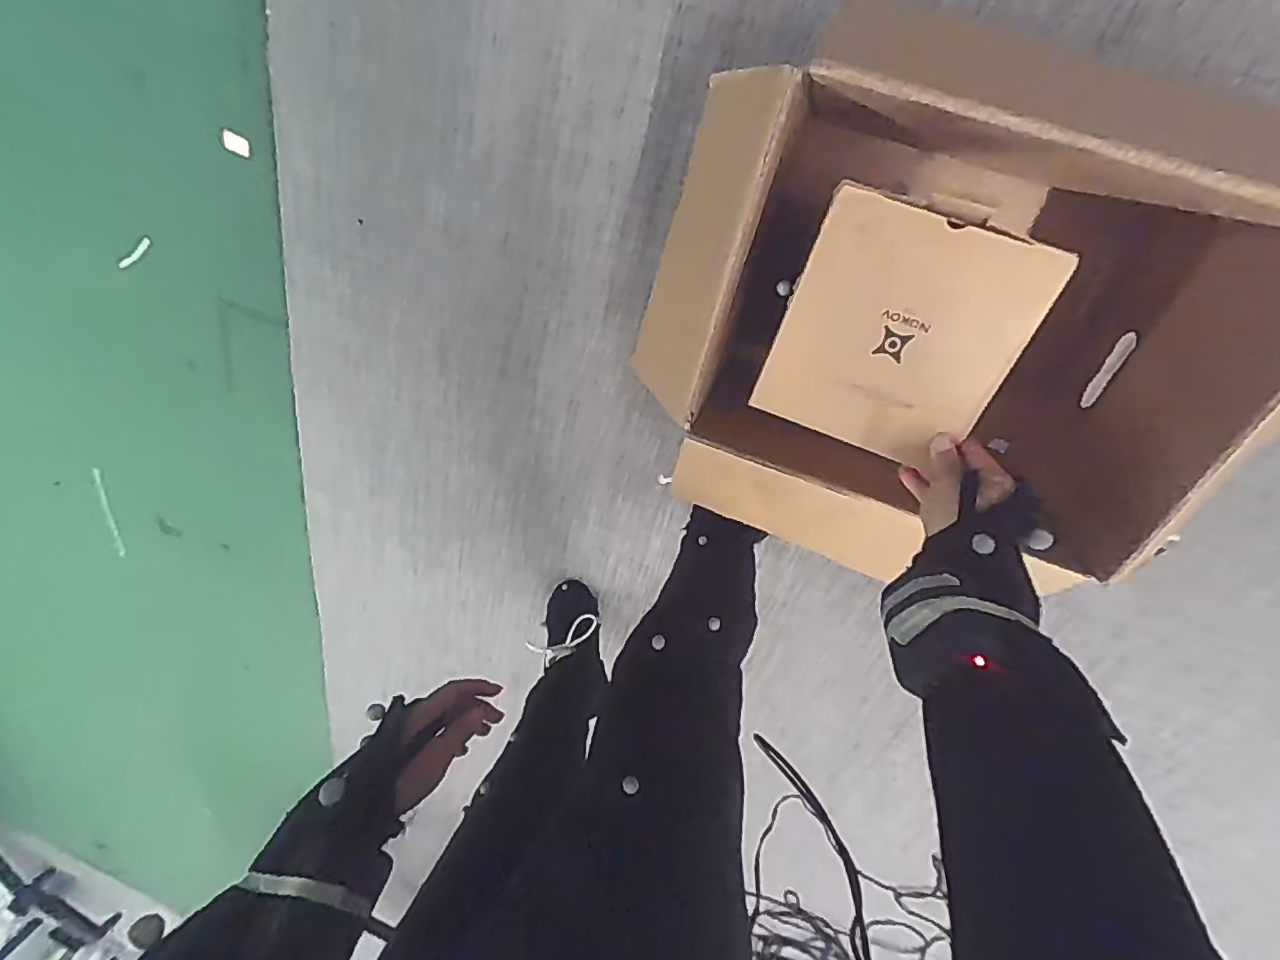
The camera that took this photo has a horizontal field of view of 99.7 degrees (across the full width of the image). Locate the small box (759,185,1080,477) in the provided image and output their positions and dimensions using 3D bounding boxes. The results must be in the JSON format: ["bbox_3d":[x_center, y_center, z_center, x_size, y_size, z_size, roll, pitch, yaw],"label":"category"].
[{"bbox_3d":[0.219,-0.136,0.481,0.168,0.176,0.179,23,118,6],"label":"small box"}]
